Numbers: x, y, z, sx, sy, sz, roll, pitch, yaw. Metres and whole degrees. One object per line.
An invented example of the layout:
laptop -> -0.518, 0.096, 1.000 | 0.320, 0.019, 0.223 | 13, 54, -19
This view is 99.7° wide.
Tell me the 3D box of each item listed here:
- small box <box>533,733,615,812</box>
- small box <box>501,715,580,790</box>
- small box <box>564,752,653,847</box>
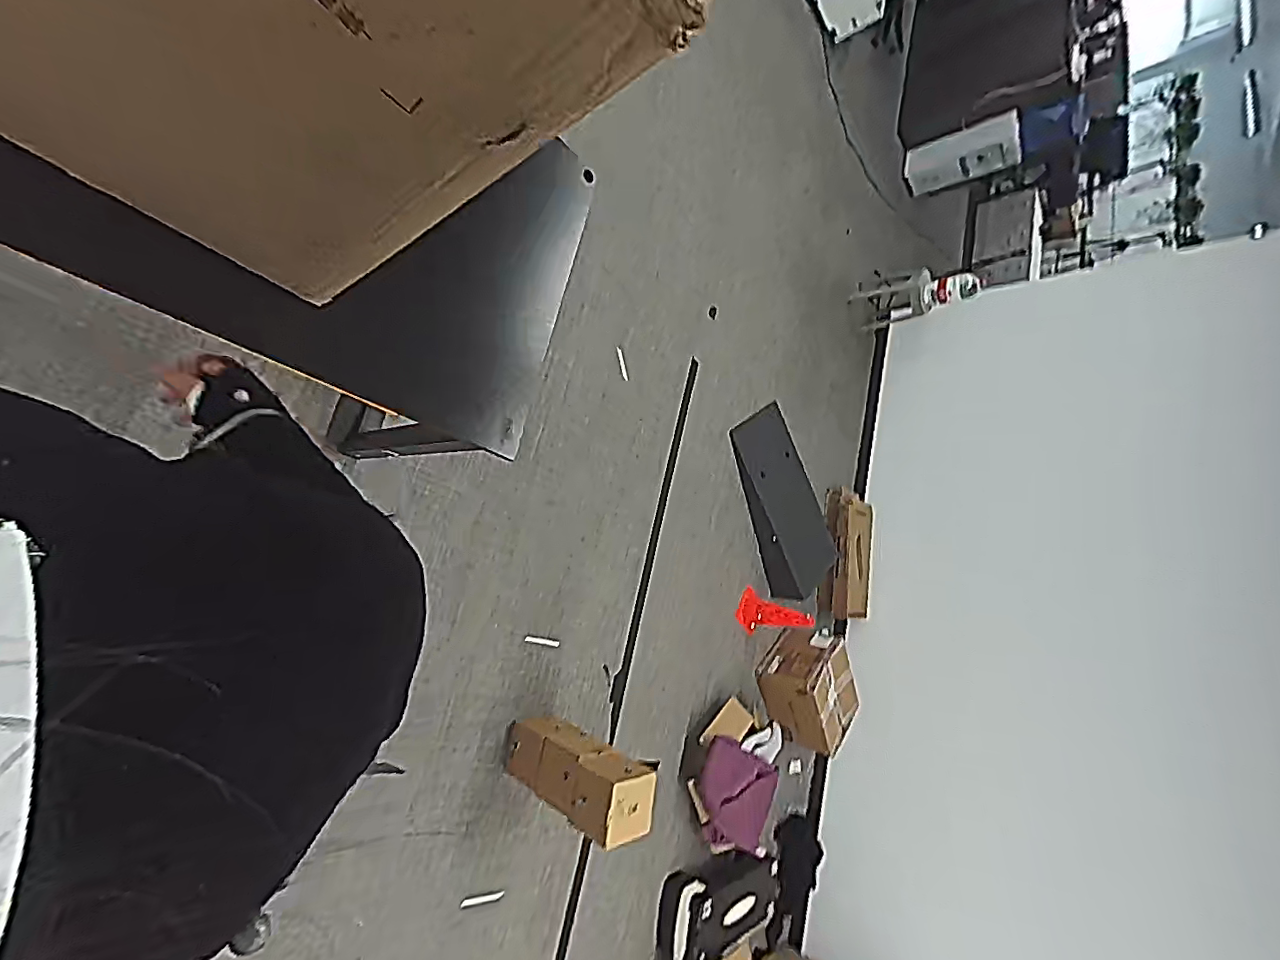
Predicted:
small box -> -0.205, 0.891, 1.661 | 0.168, 0.176, 0.179 | 21, 76, -44
small box -> -0.325, 0.885, 1.774 | 0.179, 0.176, 0.168 | 18, 77, -44
small box -> -0.090, 0.899, 1.543 | 0.179, 0.176, 0.168 | 16, 78, -45
